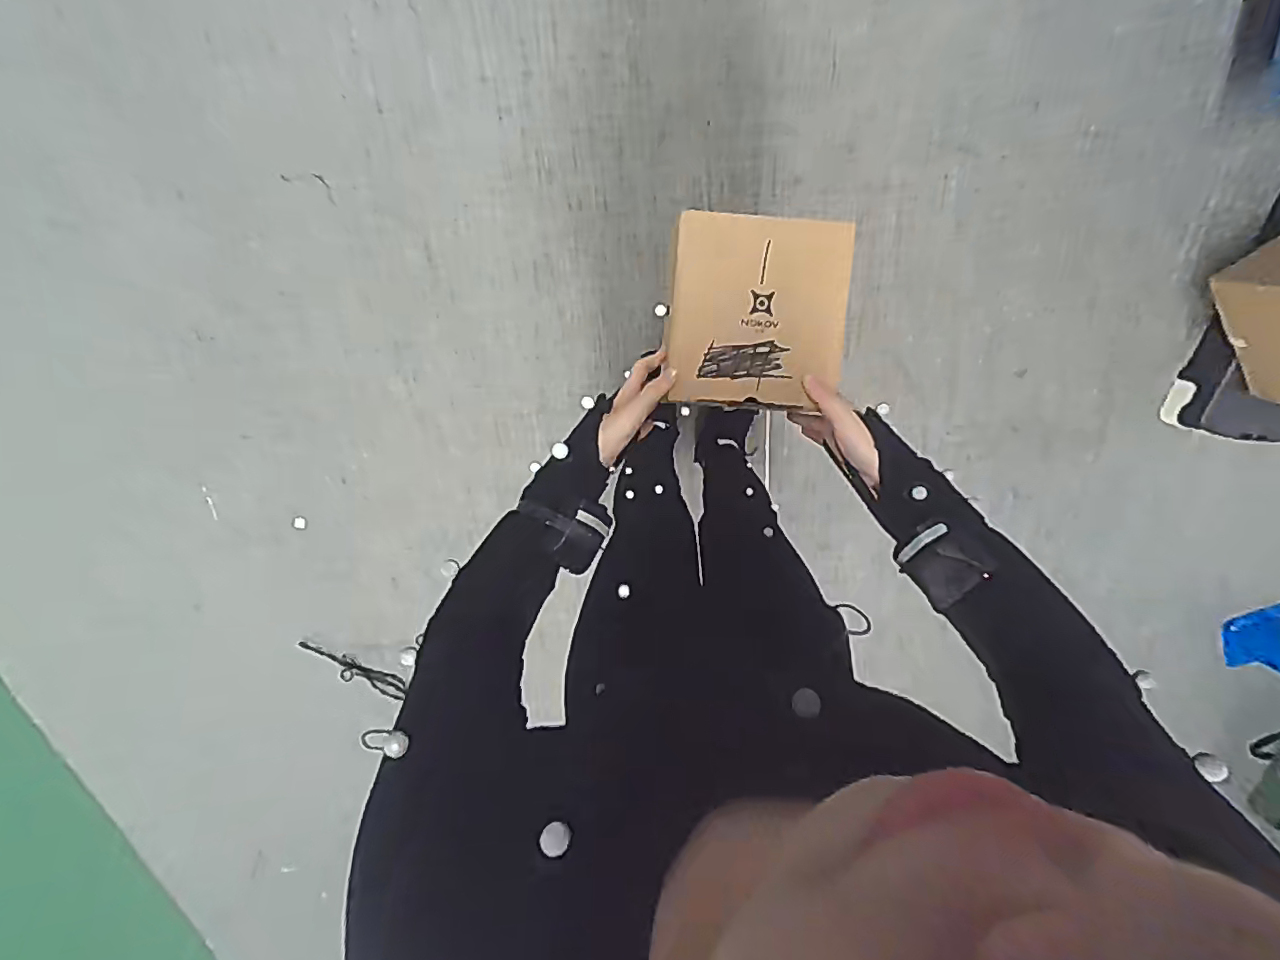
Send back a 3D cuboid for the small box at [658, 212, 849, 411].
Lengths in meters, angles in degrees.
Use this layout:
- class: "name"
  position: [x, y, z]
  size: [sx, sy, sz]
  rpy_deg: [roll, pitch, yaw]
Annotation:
- class: "small box"
  position: [0.109, -0.170, 0.595]
  size: [0.168, 0.176, 0.179]
  rpy_deg: [4, 97, -1]
